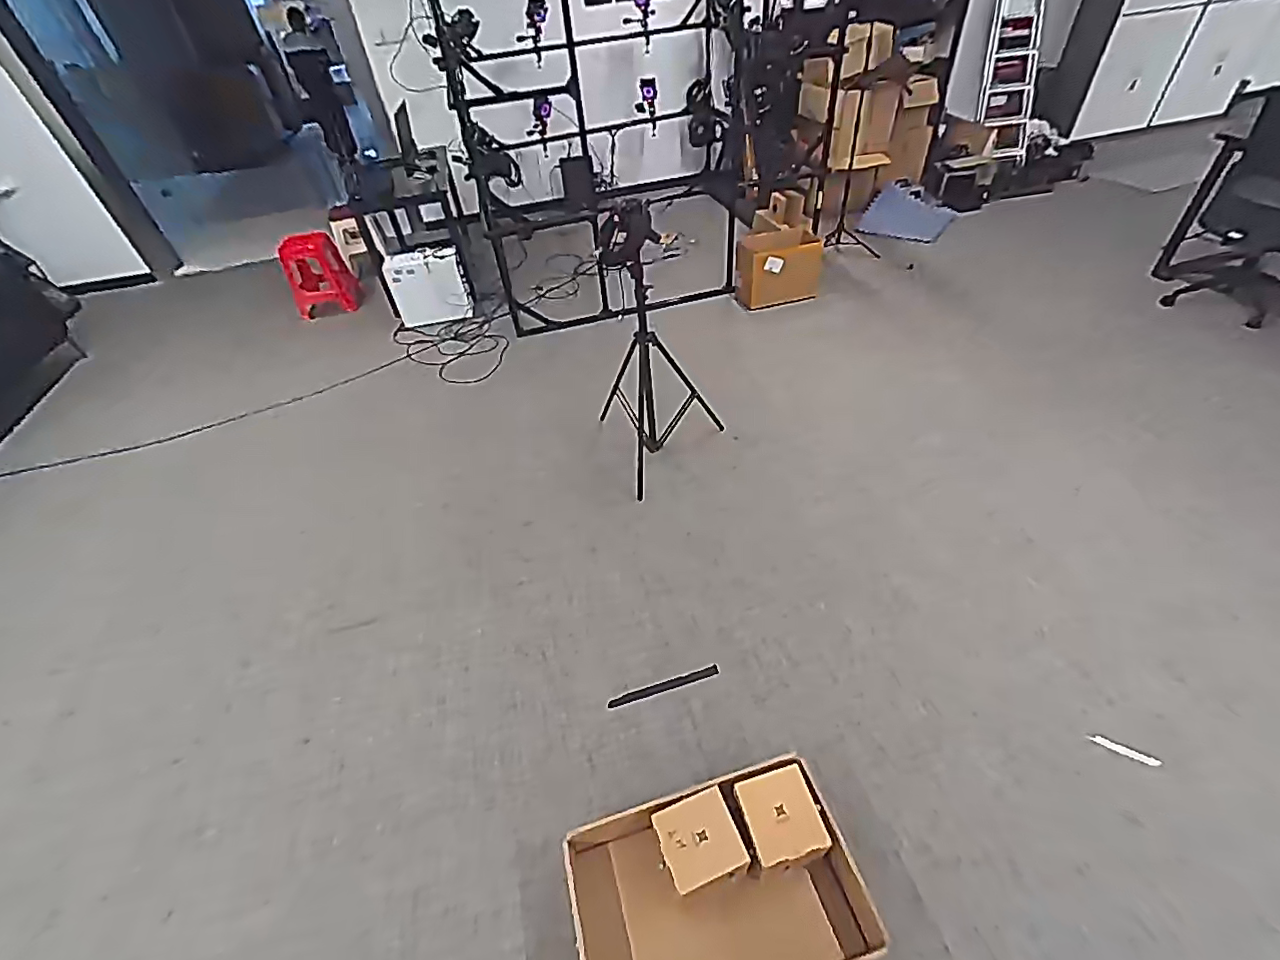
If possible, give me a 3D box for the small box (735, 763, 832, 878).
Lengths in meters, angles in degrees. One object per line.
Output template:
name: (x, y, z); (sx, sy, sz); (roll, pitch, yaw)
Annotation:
small box: (0.333, 0.817, 1.297); (0.168, 0.176, 0.179); (-15, 47, -7)
